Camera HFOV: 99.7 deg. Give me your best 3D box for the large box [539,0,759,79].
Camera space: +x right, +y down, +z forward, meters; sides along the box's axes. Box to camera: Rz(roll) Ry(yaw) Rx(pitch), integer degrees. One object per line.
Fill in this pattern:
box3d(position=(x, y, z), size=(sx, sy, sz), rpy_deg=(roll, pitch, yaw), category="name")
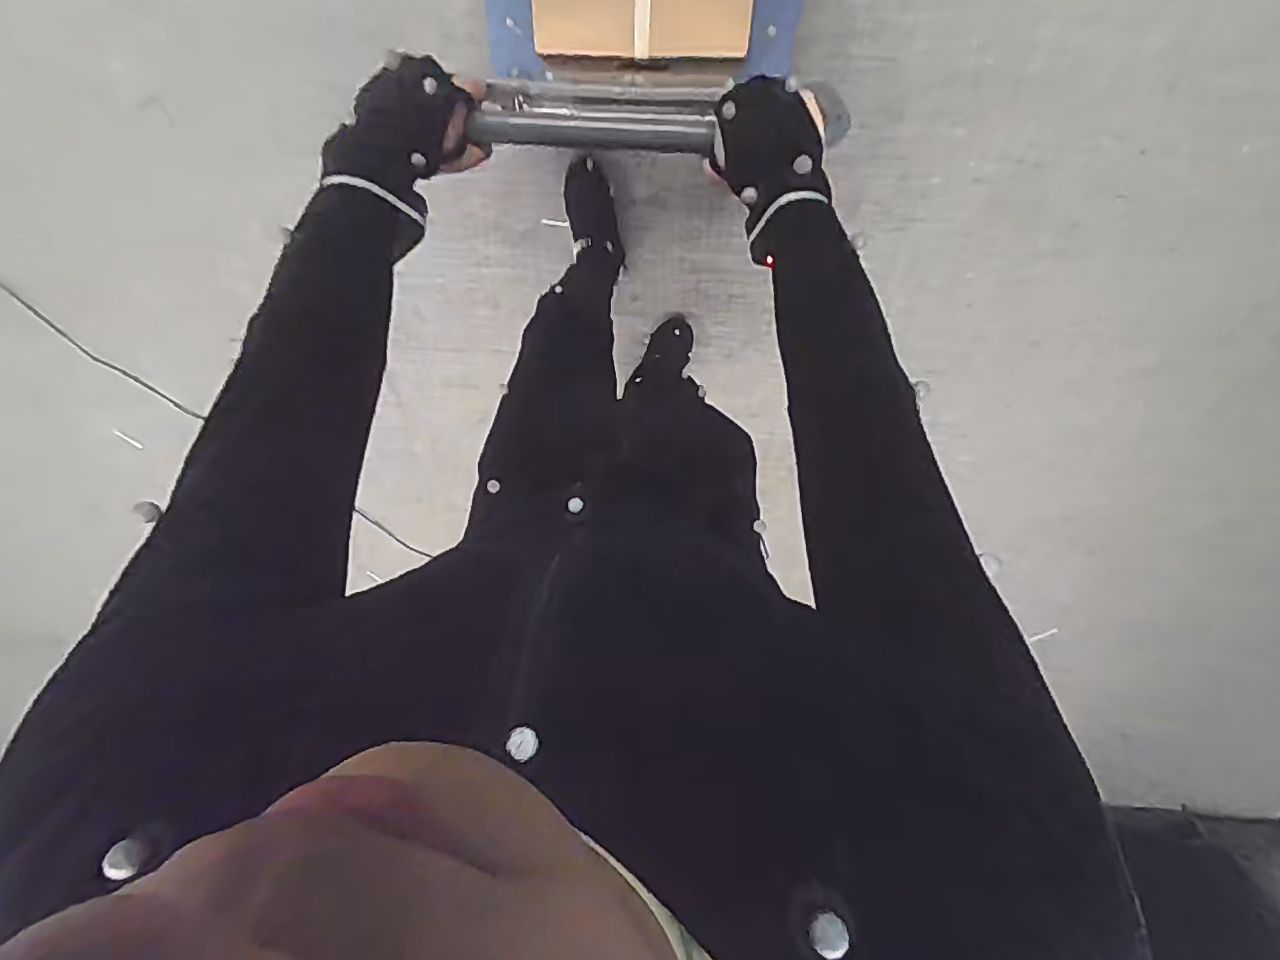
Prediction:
box3d(position=(0.022, -0.872, 0.817), size=(0.320, 0.320, 0.408), rpy_deg=(3, 120, 1), category="large box")
